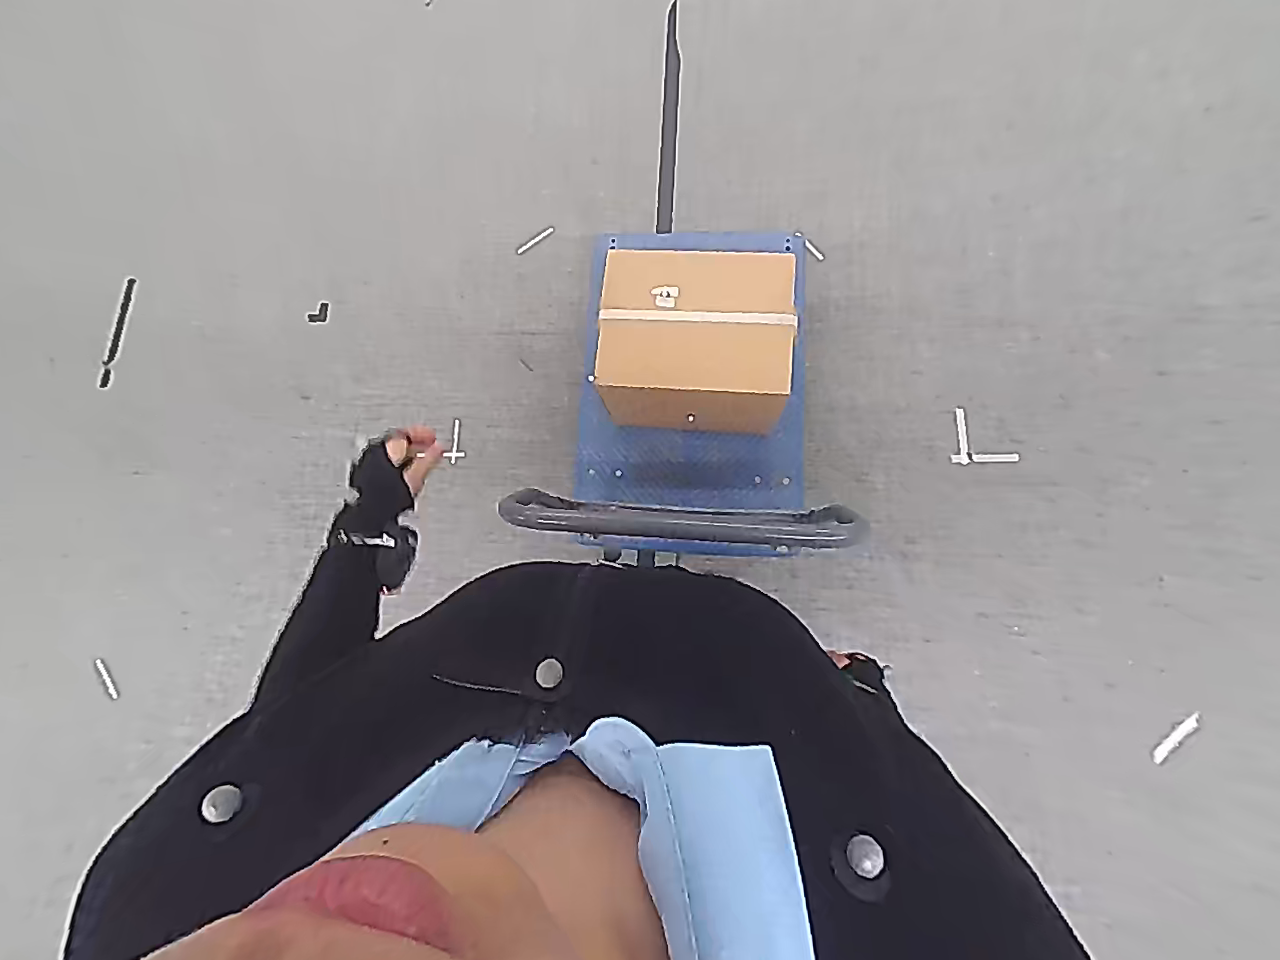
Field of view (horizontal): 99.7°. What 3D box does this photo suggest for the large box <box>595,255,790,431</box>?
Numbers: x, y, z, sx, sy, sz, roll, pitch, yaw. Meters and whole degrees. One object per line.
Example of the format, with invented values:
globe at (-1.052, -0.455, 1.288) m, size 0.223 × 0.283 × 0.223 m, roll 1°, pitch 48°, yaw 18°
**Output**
large box at (0.130, -0.308, 1.286) m, size 0.408 × 0.320 × 0.320 m, roll 3°, pitch 79°, yaw 8°
